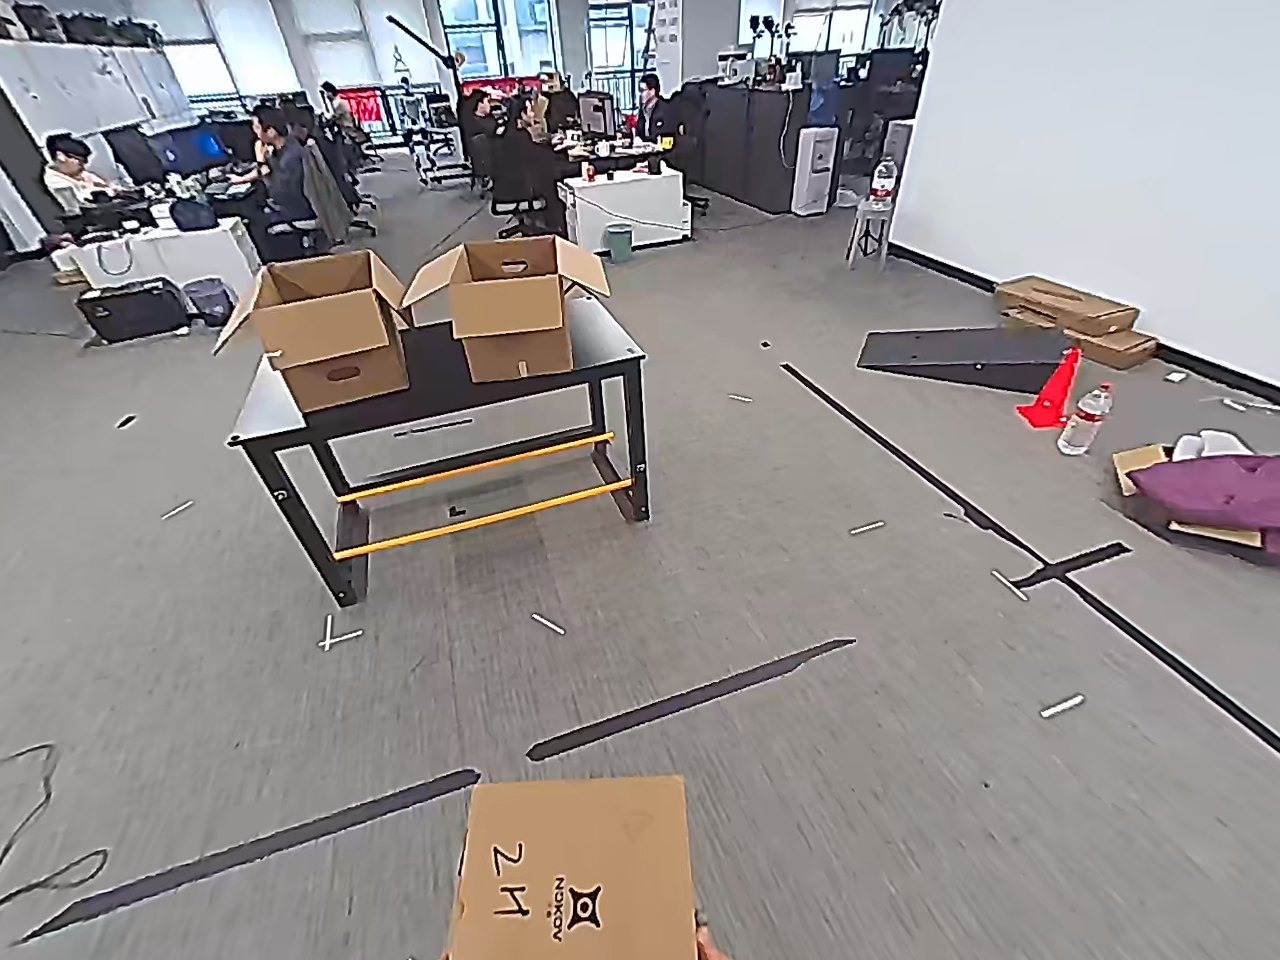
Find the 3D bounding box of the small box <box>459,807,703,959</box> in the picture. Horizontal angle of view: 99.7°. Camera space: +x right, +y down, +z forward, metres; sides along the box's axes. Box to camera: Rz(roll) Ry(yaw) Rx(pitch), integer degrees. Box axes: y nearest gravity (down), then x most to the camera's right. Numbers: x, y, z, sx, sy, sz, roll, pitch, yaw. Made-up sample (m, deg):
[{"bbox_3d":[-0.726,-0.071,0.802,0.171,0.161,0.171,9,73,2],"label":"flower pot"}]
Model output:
[{"bbox_3d":[-0.040,0.384,0.449,0.179,0.176,0.168,-3,47,0],"label":"small box"}]
